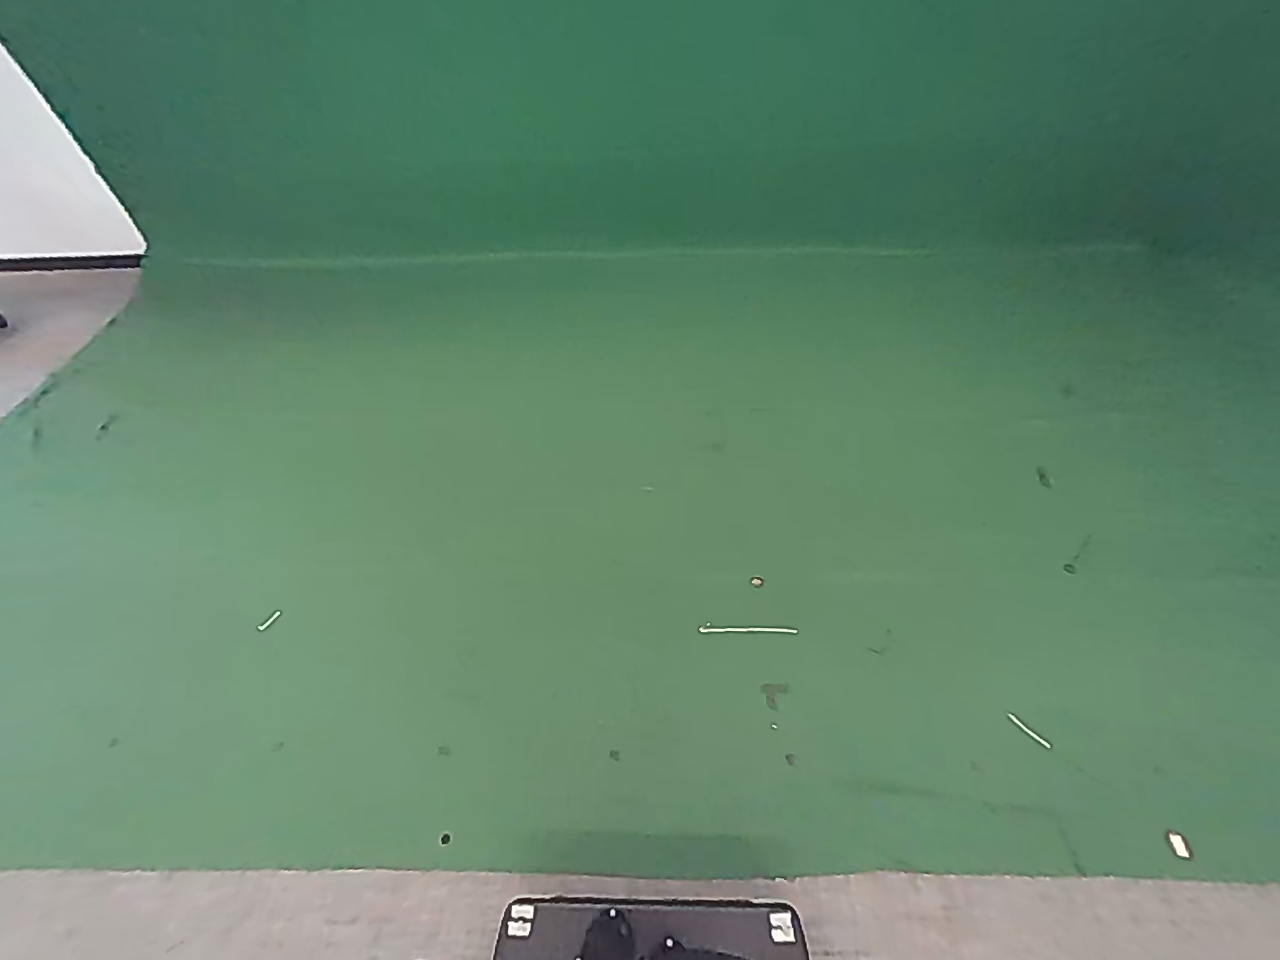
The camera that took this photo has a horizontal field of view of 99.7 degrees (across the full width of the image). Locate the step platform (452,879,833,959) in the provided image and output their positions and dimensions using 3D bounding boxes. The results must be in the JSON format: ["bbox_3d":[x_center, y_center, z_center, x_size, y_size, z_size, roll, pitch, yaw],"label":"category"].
[{"bbox_3d":[0.004,0.931,1.015,0.684,0.204,0.286,-1,51,2],"label":"step platform"}]
